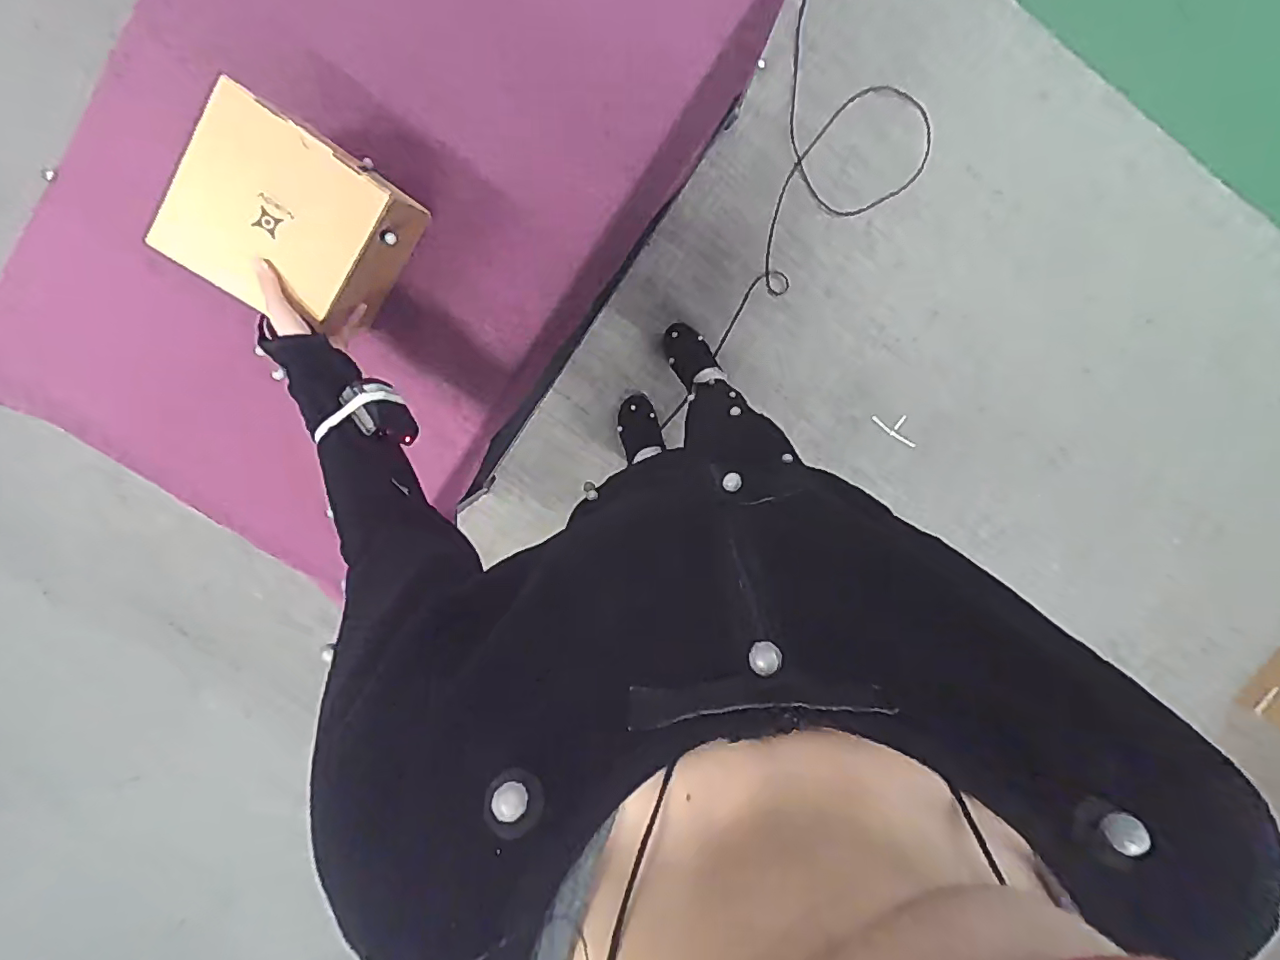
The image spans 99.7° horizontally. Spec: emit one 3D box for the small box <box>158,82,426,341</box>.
[{"bbox_3d":[-0.367,-0.280,0.607,0.168,0.176,0.179,32,102,-17],"label":"small box"}]
